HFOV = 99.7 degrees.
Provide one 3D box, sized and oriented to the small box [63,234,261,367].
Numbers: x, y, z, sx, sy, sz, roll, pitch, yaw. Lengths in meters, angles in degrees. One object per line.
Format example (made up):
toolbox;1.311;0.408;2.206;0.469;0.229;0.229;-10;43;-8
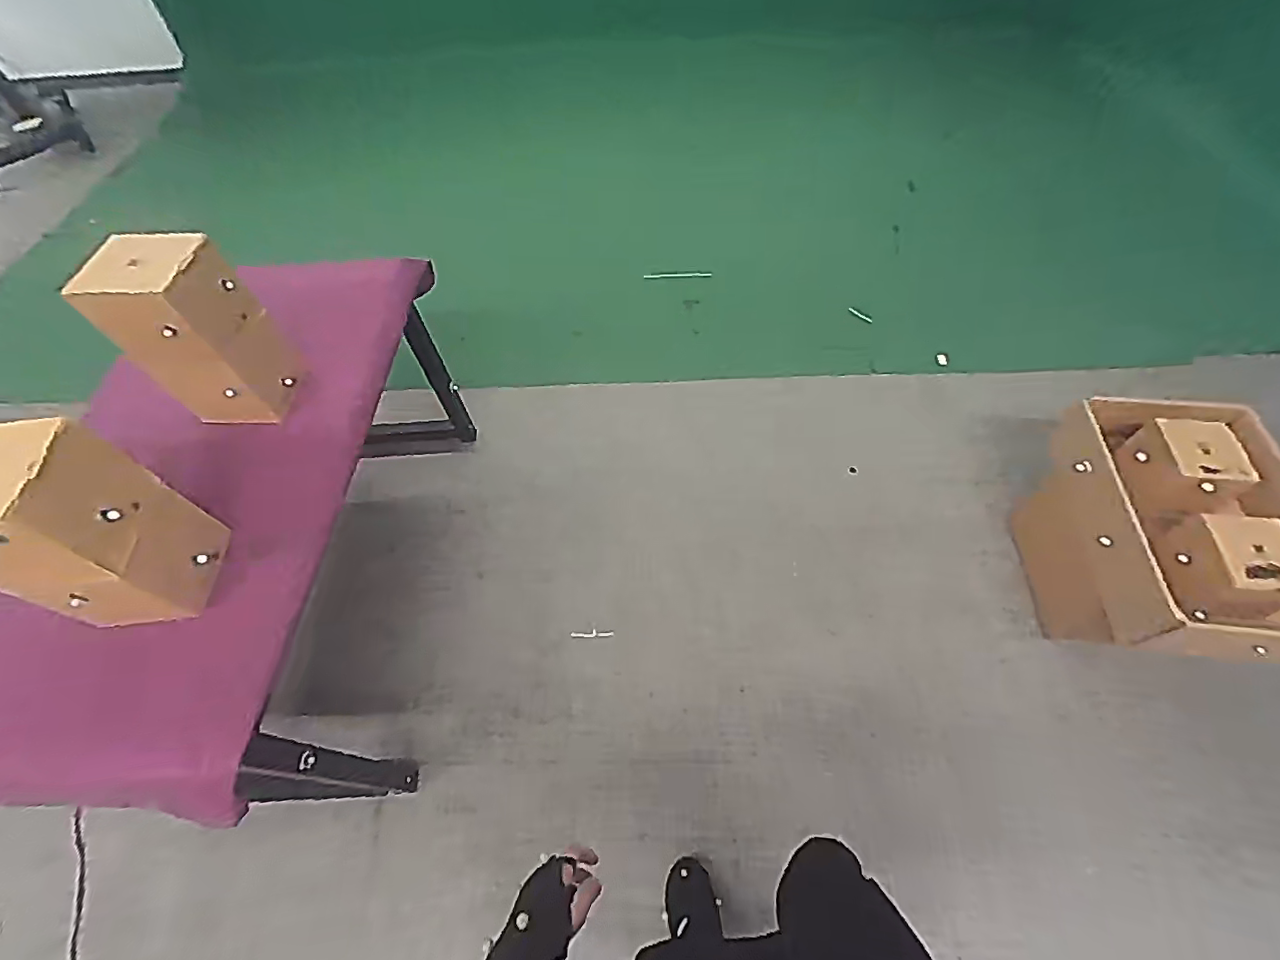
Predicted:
small box;-0.841;-0.319;0.979;0.179;0.176;0.168;0;56;3

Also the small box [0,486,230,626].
small box;-0.831;0.129;0.879;0.179;0.176;0.168;-5;57;0

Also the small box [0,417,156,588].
small box;-0.842;0.037;0.745;0.179;0.176;0.168;-7;56;-2

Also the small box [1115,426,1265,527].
small box;1.331;-0.007;1.328;0.168;0.176;0.179;5;56;6
